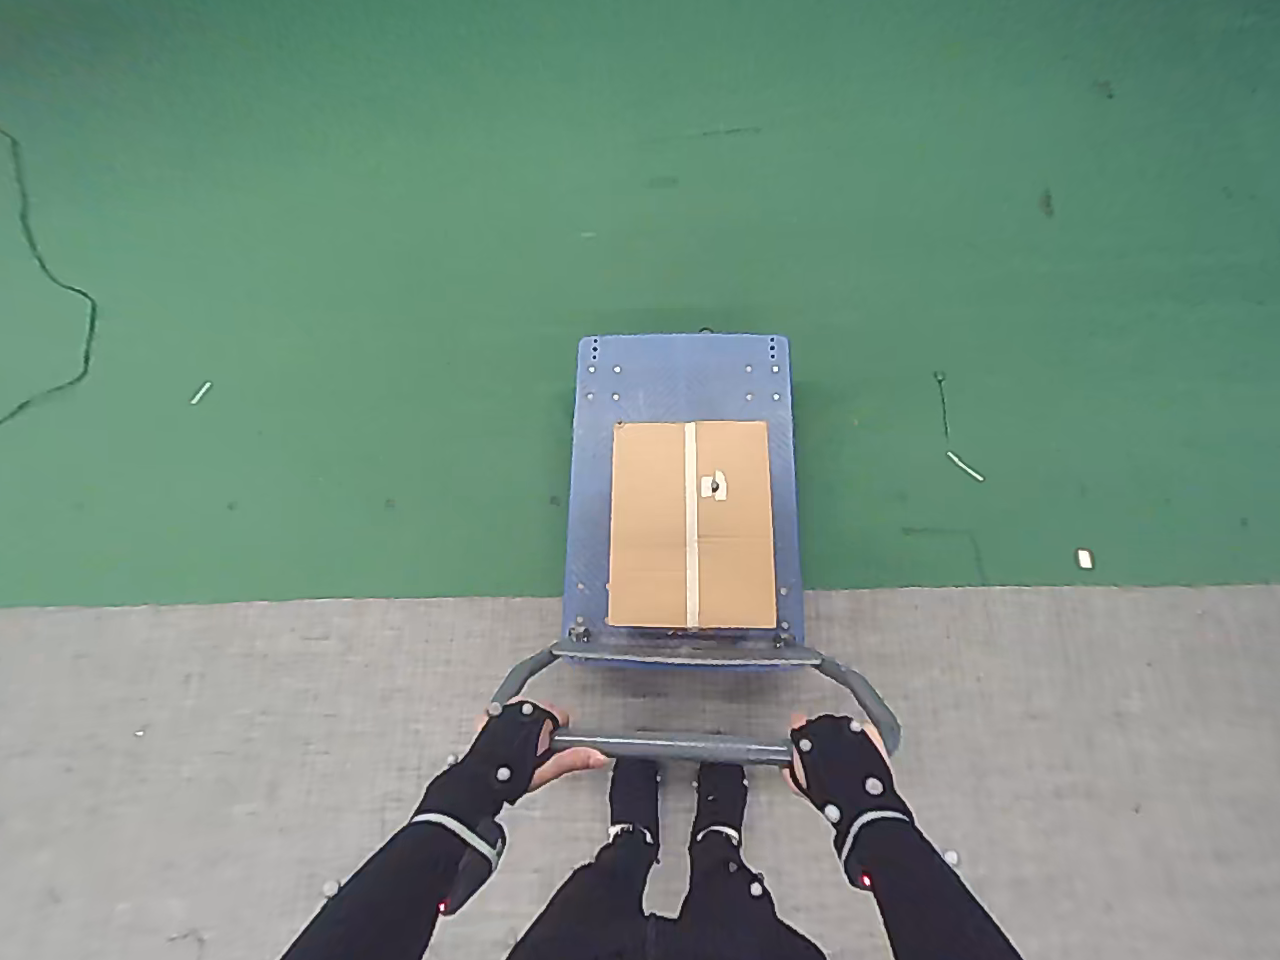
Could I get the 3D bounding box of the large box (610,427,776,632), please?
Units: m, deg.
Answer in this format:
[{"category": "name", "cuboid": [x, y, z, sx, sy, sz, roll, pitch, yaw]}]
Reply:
[{"category": "large box", "cuboid": [0.110, 0.126, 1.195, 0.320, 0.320, 0.408, 0, 75, 4]}]
